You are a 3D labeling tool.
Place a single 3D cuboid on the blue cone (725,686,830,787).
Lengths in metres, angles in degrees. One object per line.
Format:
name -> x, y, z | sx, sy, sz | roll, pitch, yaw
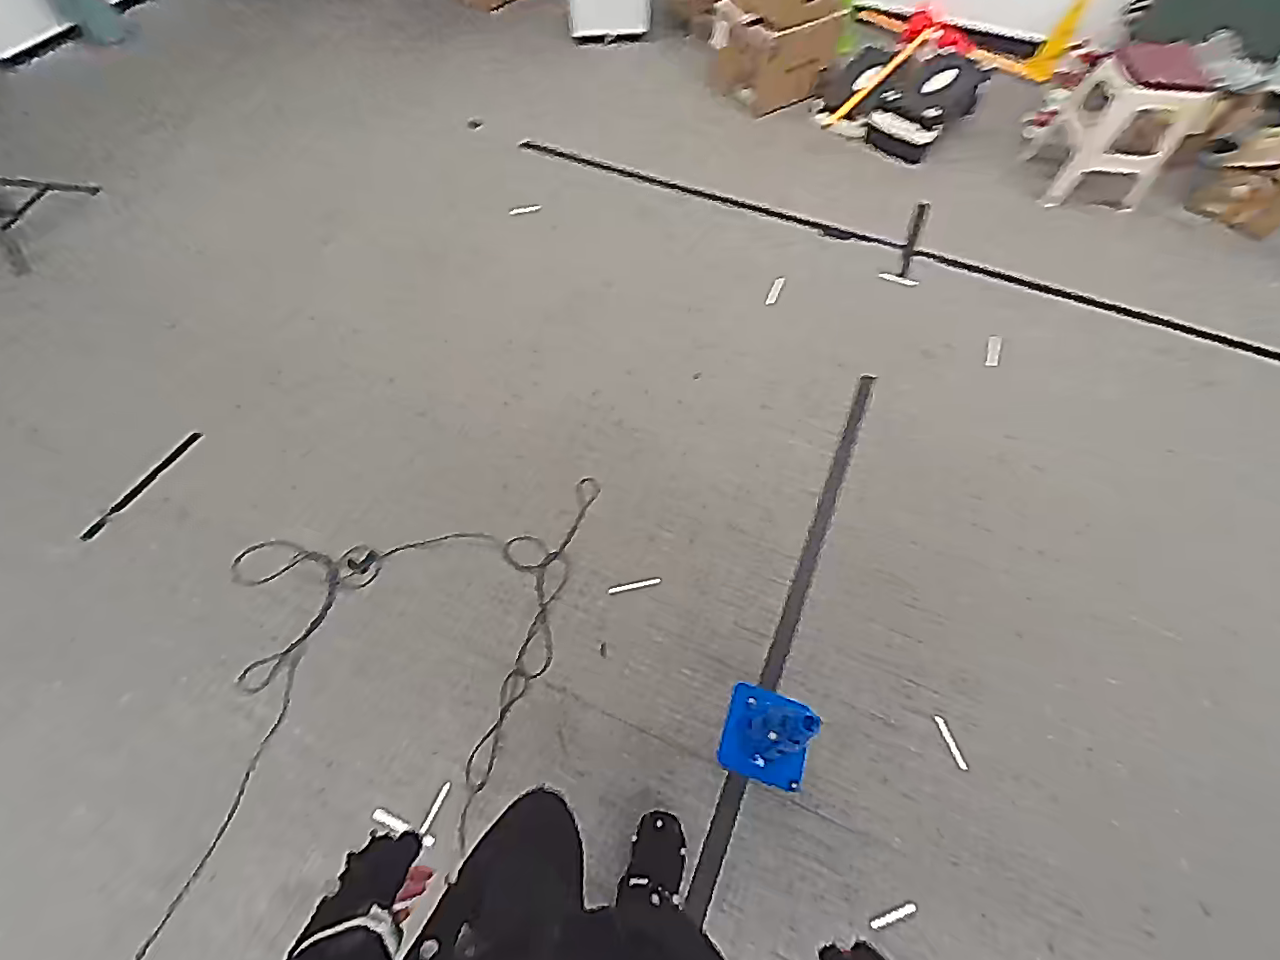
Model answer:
blue cone -> 0.314, 0.534, 1.157 | 0.192, 0.380, 0.193 | 20, 63, 8
